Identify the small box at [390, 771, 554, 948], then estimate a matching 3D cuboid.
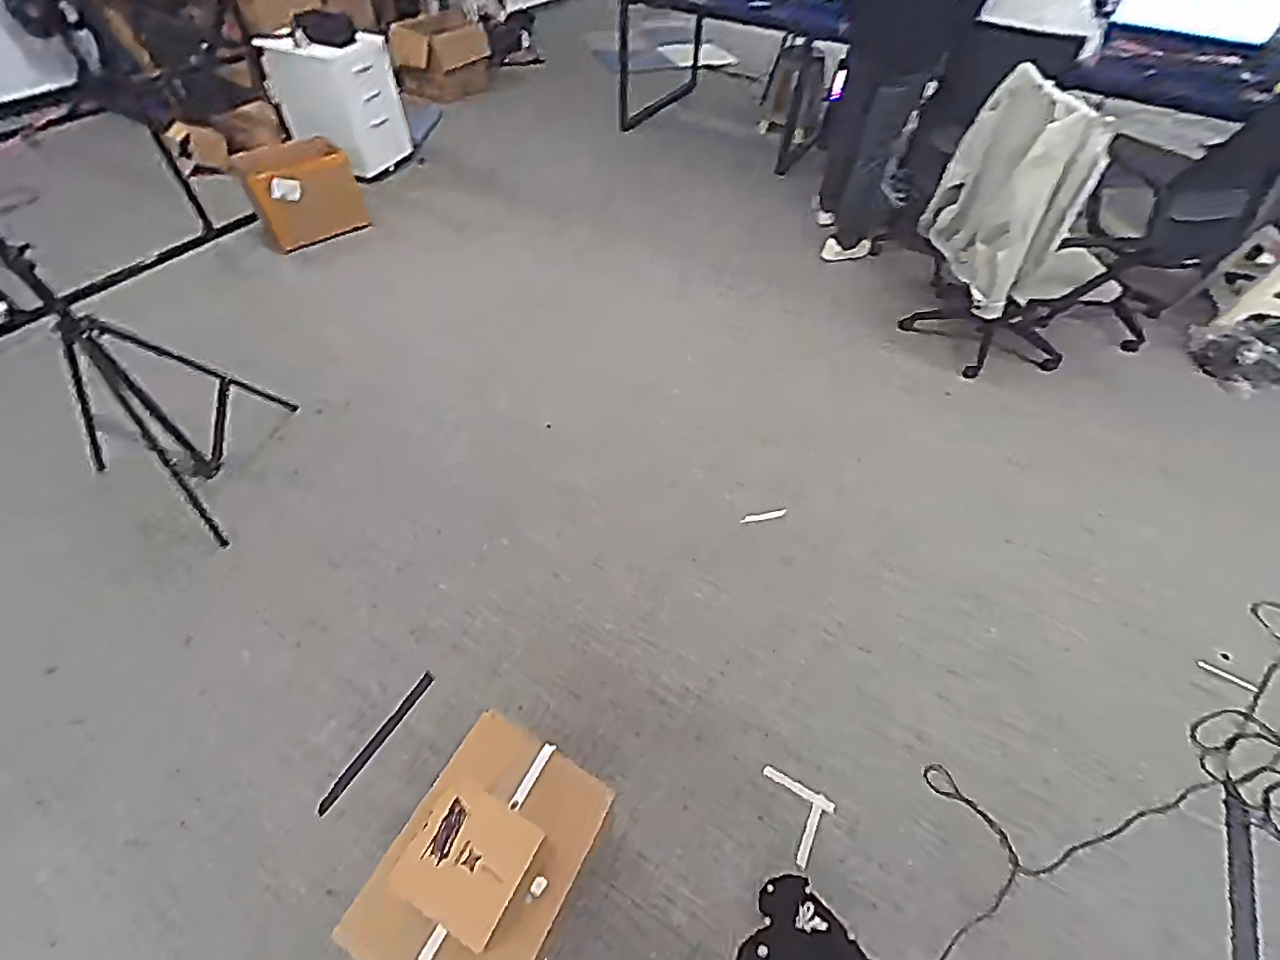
[{"bbox_3d":[-0.257,0.609,0.873,0.179,0.176,0.168,24,55,14],"label":"small box"}]
